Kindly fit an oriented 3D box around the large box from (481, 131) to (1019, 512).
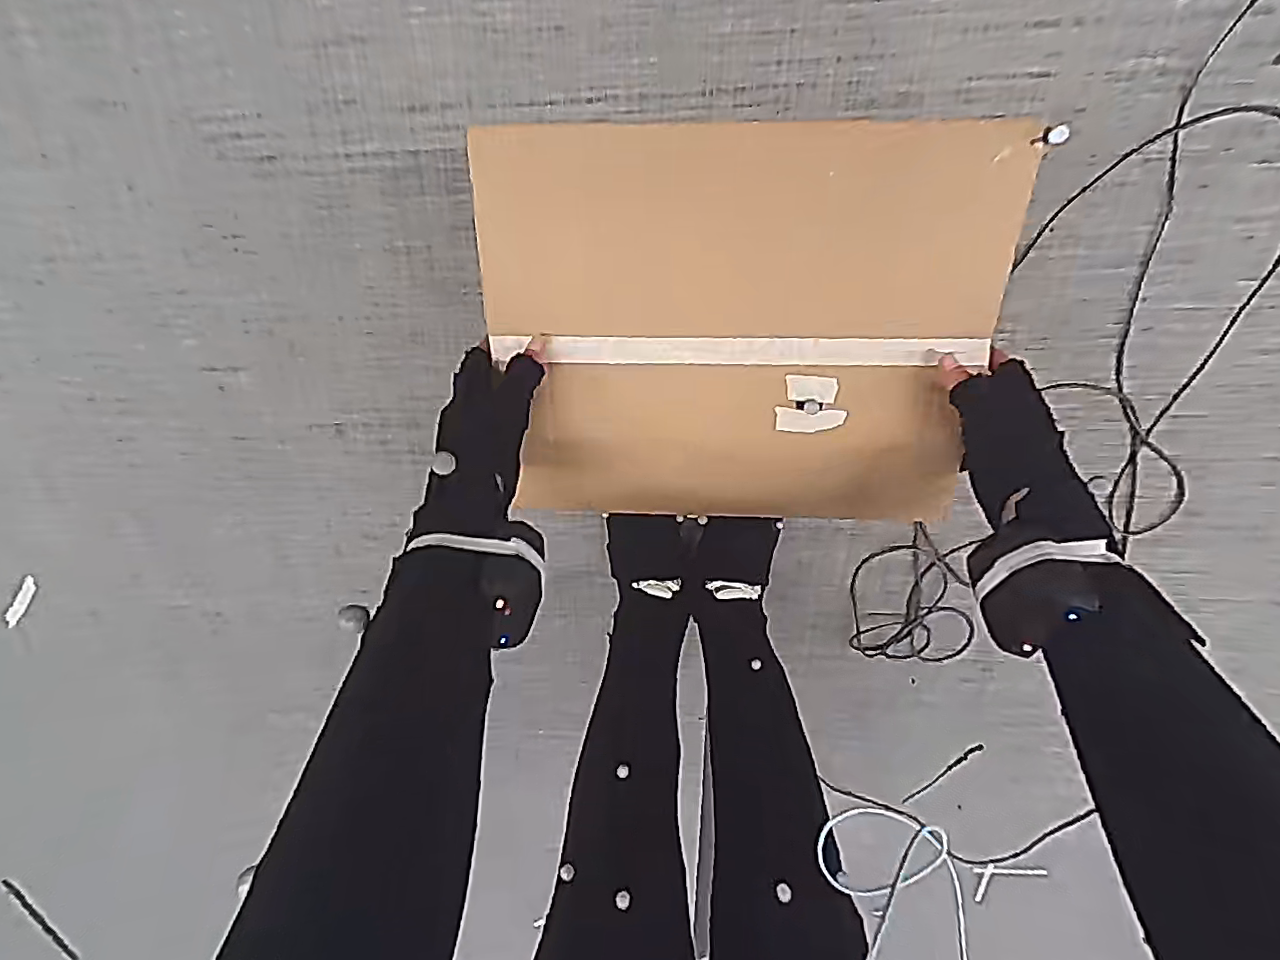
[{"bbox_3d":[0.085,-0.169,0.593,0.408,0.320,0.320,1,115,3],"label":"large box"}]
